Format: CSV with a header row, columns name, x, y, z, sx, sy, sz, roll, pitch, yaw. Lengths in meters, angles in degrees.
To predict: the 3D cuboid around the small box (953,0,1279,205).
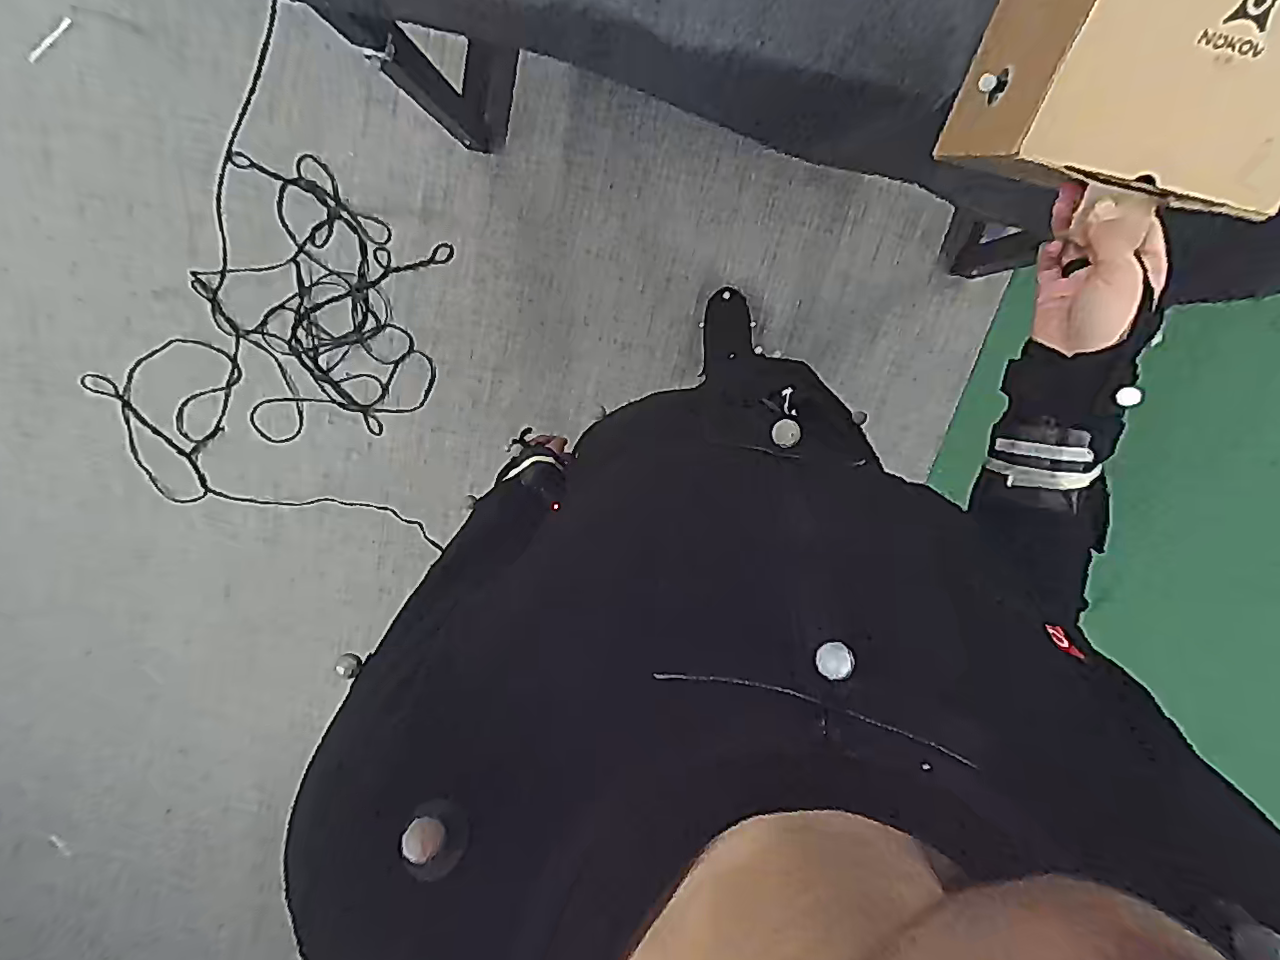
name,x,y,z,sx,sy,sz,roll,pitch,yaw
small box,0.342,-0.301,0.357,0.168,0.176,0.179,13,121,0
